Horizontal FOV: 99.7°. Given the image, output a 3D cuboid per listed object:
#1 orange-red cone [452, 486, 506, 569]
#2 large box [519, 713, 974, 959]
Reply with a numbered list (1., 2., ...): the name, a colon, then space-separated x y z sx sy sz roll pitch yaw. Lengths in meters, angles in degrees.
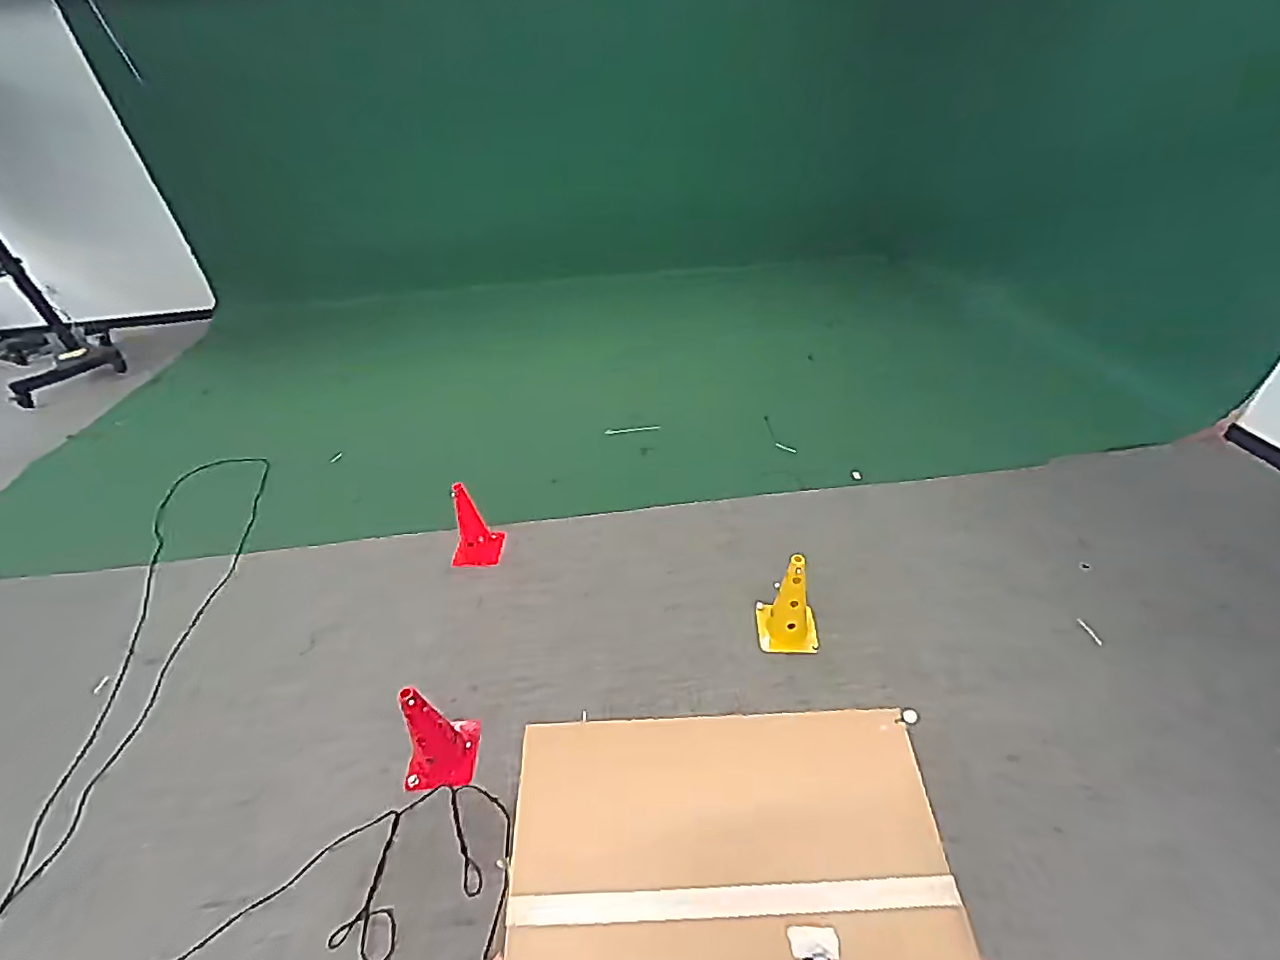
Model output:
1. orange-red cone: -0.705 0.175 2.217 0.199 0.360 0.198 -3 38 4
2. large box: 0.092 0.478 0.611 0.408 0.320 0.320 -3 53 0
